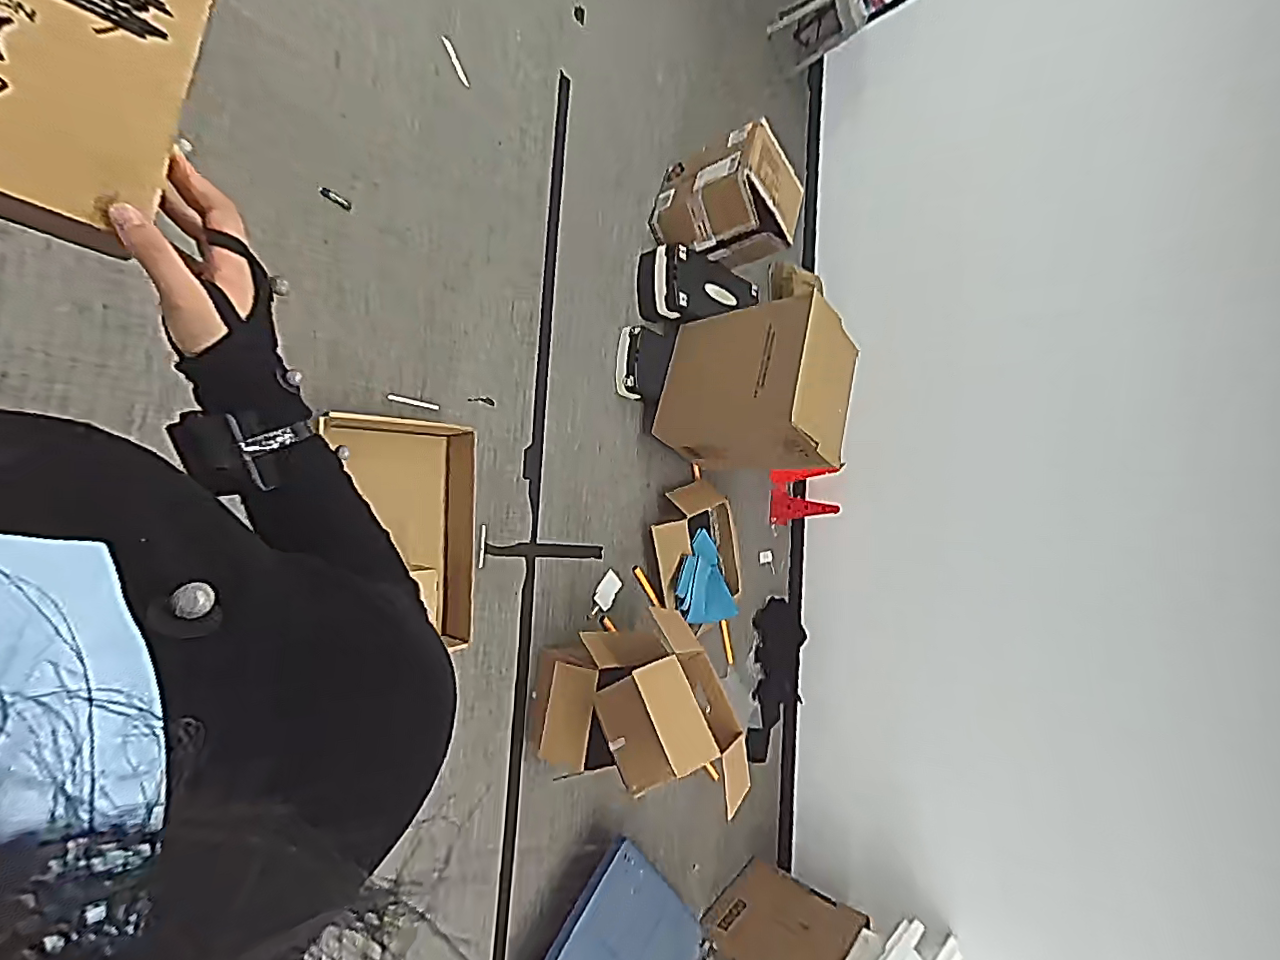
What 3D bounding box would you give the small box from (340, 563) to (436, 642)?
[{"bbox_3d":[-0.651,0.307,1.389,0.179,0.176,0.168,4,87,-48],"label":"small box"}]
